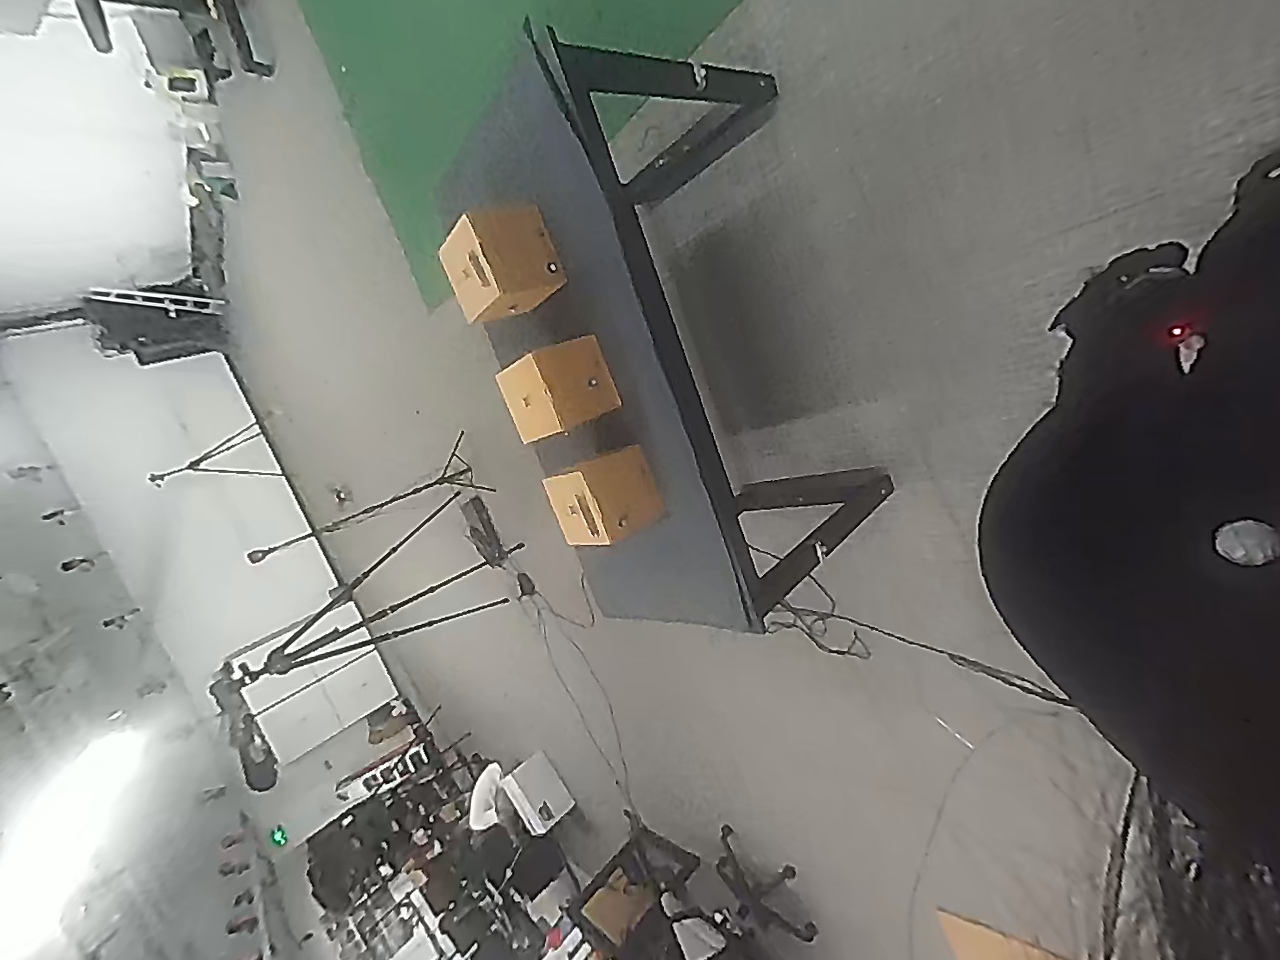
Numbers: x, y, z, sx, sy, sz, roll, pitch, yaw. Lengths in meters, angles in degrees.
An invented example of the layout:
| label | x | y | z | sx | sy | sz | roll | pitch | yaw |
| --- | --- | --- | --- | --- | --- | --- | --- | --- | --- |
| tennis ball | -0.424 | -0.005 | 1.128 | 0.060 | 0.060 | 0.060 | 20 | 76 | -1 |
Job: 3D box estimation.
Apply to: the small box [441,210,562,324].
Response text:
| label | x | y | z | sx | sy | sz | roll | pitch | yaw |
| --- | --- | --- | --- | --- | --- | --- | --- | --- | --- |
| small box | -0.288 | -0.454 | 1.151 | 0.179 | 0.176 | 0.168 | -11 | 103 | 52 |

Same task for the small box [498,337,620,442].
| label | x | y | z | sx | sy | sz | roll | pitch | yaw |
| --- | --- | --- | --- | --- | --- | --- | --- | --- | --- |
| small box | -0.175 | -0.197 | 1.181 | 0.179 | 0.176 | 0.168 | -12 | 102 | 50 |
